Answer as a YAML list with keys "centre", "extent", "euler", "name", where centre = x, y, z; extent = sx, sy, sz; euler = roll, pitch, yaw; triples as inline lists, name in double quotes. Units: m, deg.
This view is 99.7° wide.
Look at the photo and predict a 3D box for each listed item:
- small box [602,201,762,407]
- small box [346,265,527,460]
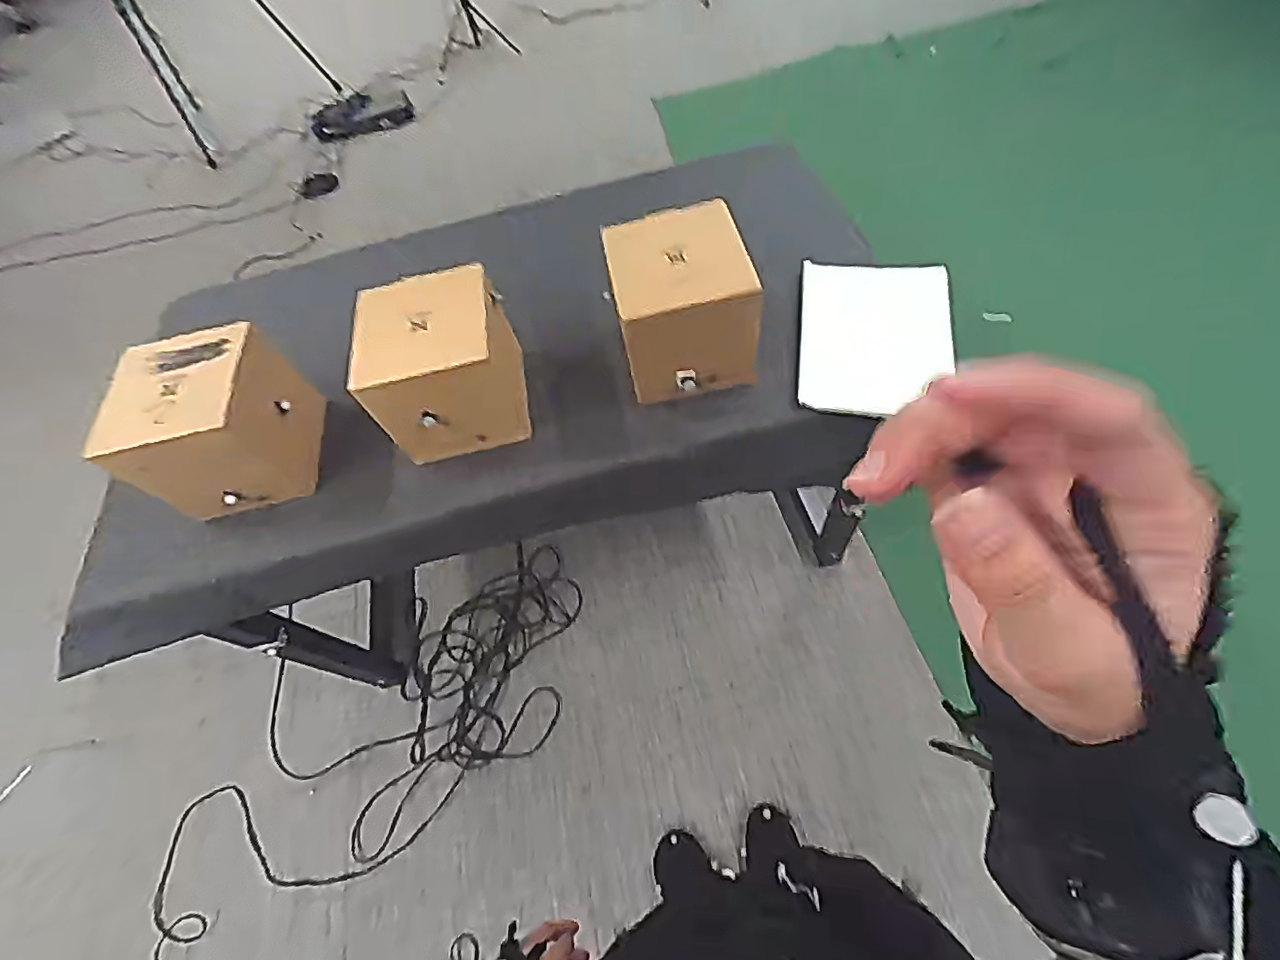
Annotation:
- centre: [0.054, -0.226, 0.717]
  extent: [0.168, 0.176, 0.179]
  euler: [-14, 60, 2]
  name: "small box"
- centre: [-0.257, -0.144, 0.716]
  extent: [0.168, 0.176, 0.179]
  euler: [-14, 58, 1]
  name: "small box"
